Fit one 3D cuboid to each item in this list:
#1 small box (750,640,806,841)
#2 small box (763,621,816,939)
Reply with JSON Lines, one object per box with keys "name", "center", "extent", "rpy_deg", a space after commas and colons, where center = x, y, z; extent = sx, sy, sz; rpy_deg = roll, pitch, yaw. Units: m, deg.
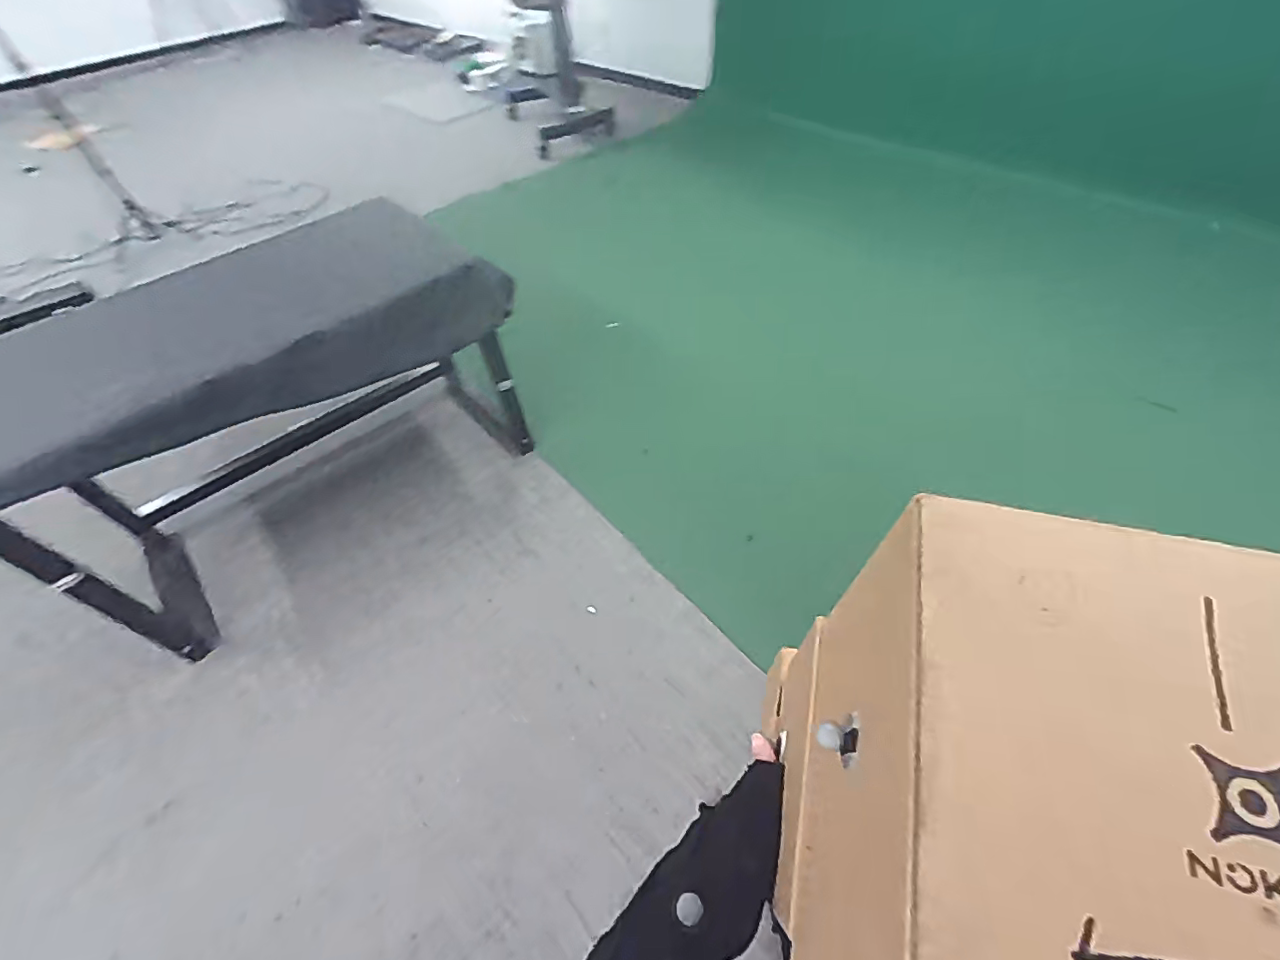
{"name": "small box", "center": [0.202, 0.268, 0.520], "extent": [0.179, 0.176, 0.168], "rpy_deg": [5, 59, 9]}
{"name": "small box", "center": [0.181, 0.202, 0.350], "extent": [0.179, 0.176, 0.168], "rpy_deg": [5, 60, 9]}
